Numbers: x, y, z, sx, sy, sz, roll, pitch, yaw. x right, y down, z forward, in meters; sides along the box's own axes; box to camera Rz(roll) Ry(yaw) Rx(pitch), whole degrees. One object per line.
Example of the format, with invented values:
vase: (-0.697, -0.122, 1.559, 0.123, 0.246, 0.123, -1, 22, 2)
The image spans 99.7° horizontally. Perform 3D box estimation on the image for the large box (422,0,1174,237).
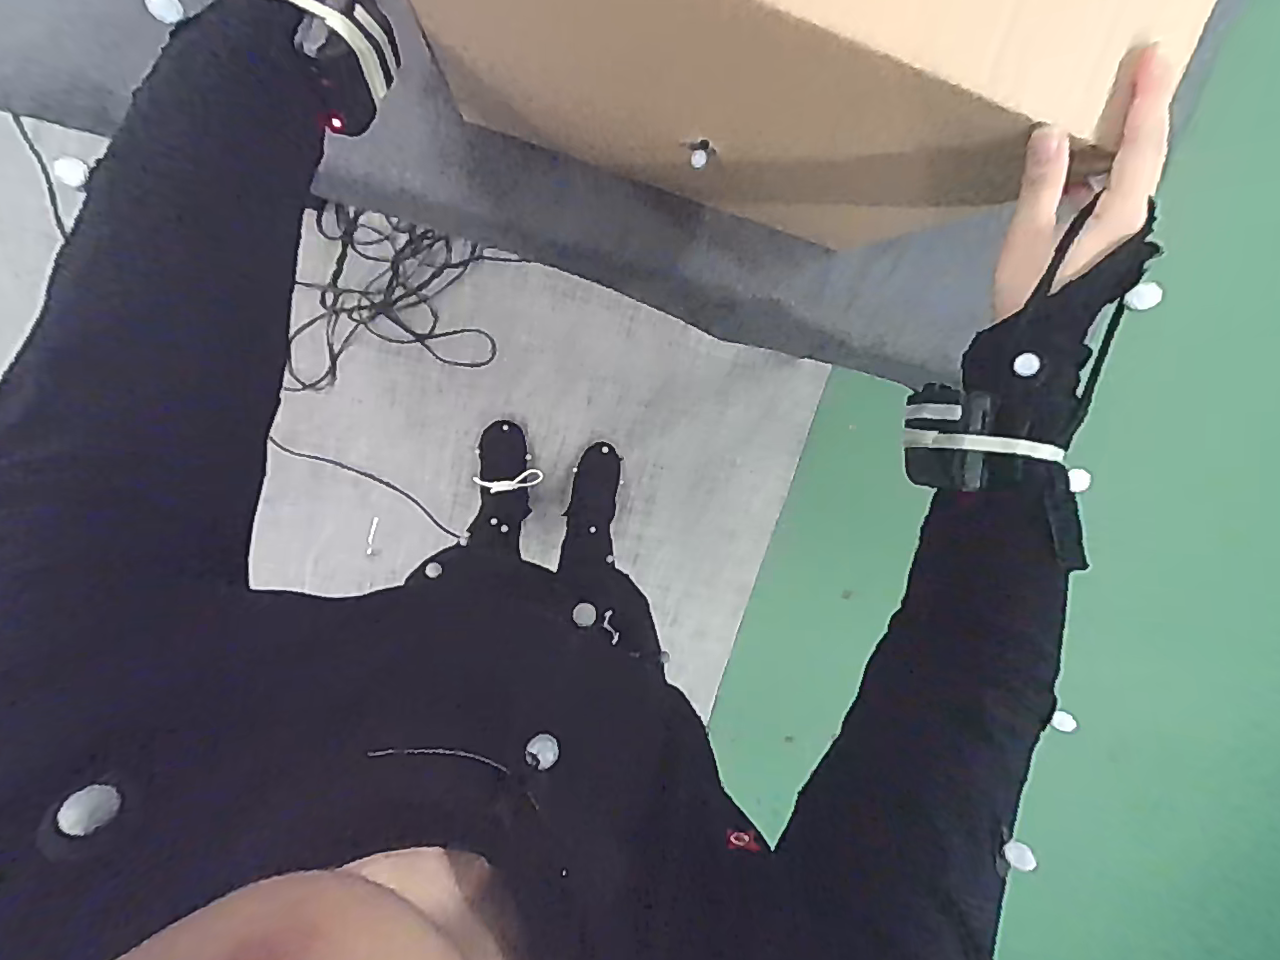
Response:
large box: (0.091, -0.400, 0.373, 0.408, 0.320, 0.320, 13, 102, -10)
